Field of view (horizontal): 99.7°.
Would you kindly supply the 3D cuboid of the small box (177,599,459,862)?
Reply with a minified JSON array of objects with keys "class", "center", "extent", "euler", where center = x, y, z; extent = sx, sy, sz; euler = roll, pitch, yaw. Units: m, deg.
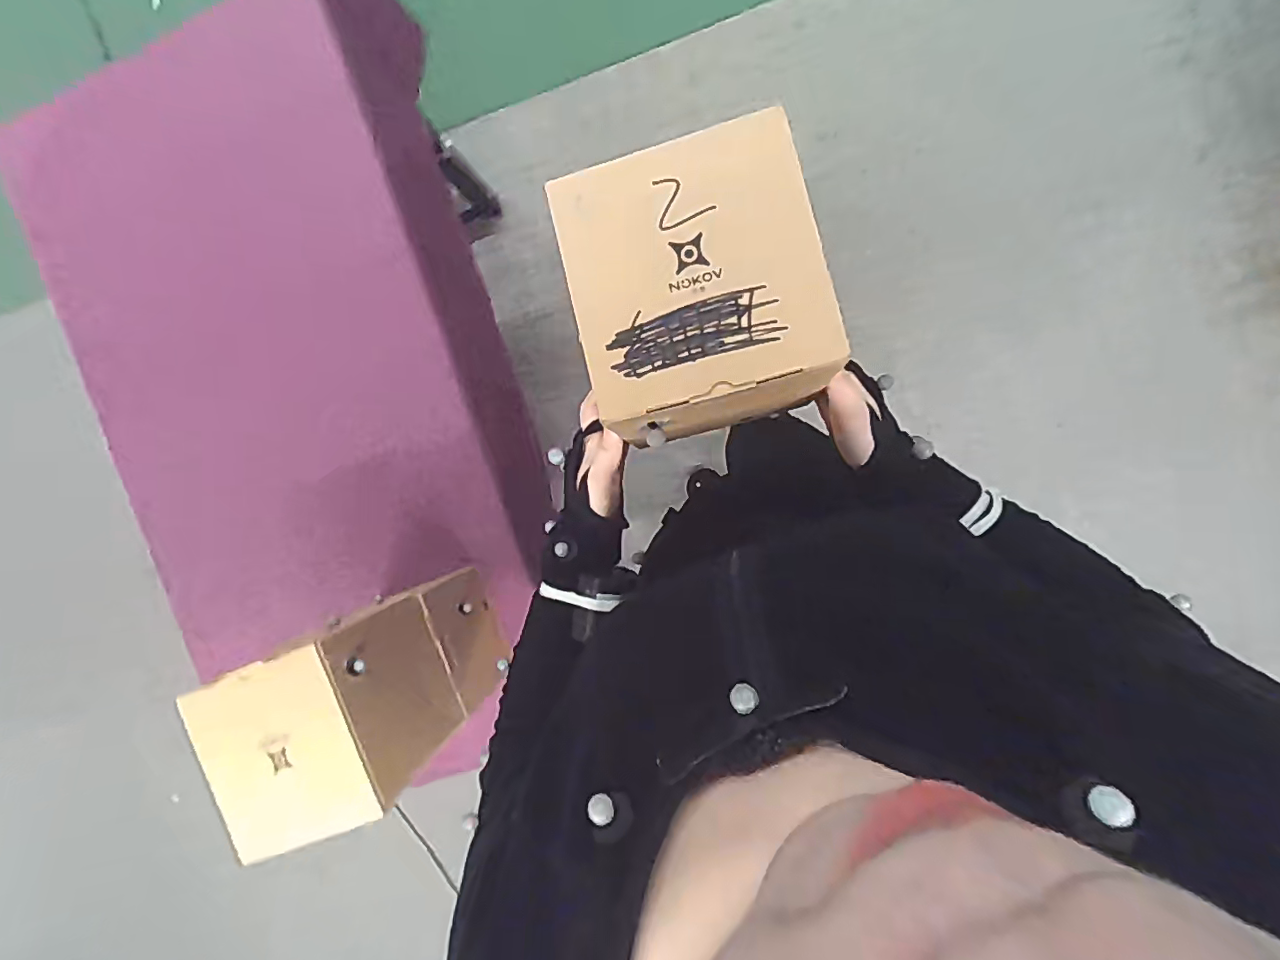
[{"class":"small box","center":[-0.327,0.254,0.585],"extent":[0.168,0.176,0.179],"euler":[-23,90,8]}]

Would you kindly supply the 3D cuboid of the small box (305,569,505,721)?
[{"class":"small box","center":[-0.306,0.237,0.745],"extent":[0.179,0.176,0.168],"euler":[-21,91,9]}]
